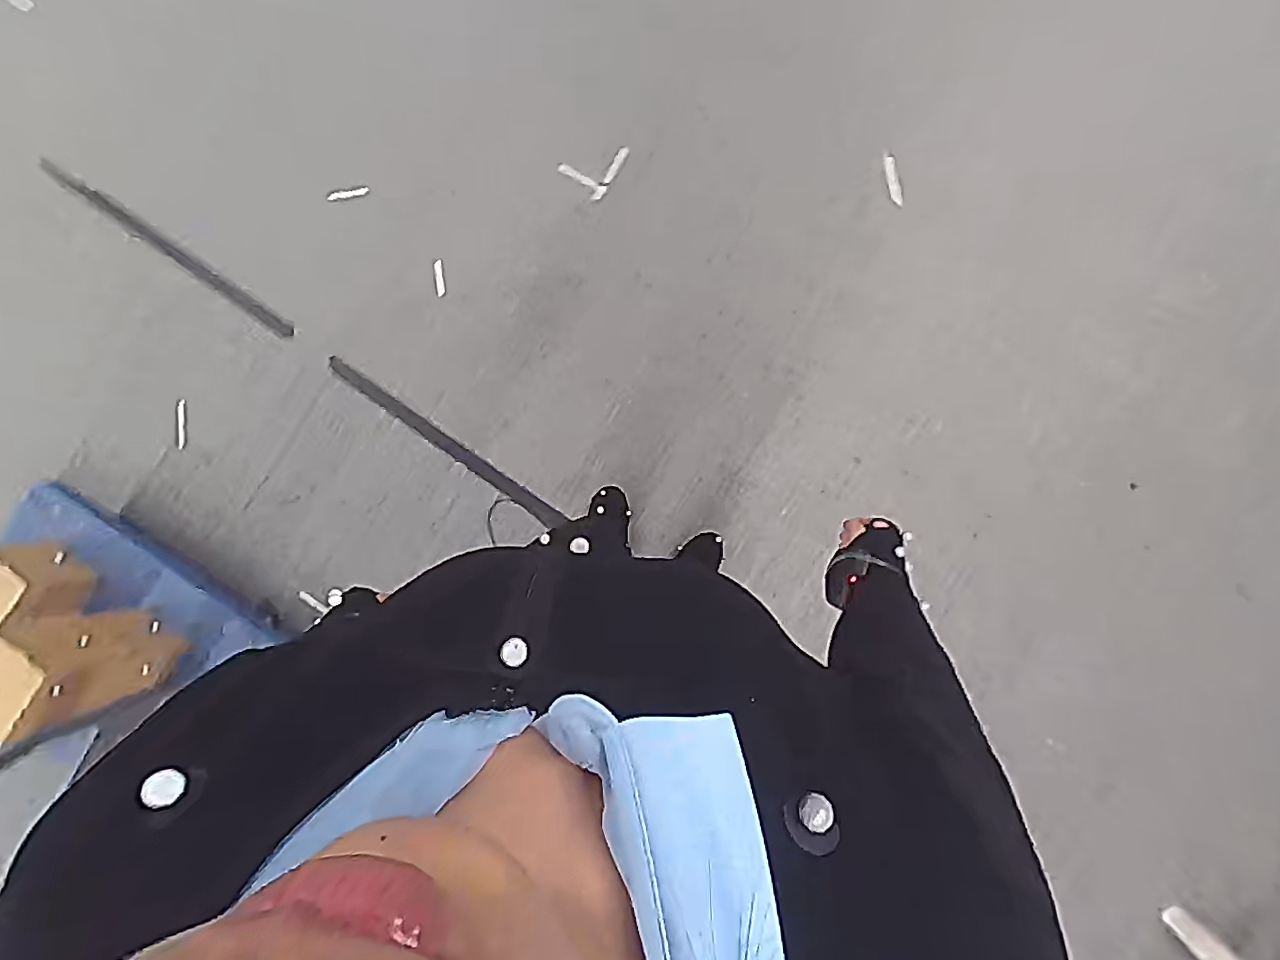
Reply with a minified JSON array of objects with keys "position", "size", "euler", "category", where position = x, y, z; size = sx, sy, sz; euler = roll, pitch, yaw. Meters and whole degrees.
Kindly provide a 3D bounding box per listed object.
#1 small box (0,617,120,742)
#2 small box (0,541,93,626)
[{"position":[-1.288,0.418,1.154],"size":[0.168,0.176,0.179],"euler":[34,89,5],"category":"small box"},{"position":[-1.541,0.270,1.342],"size":[0.168,0.176,0.179],"euler":[36,90,4],"category":"small box"}]
